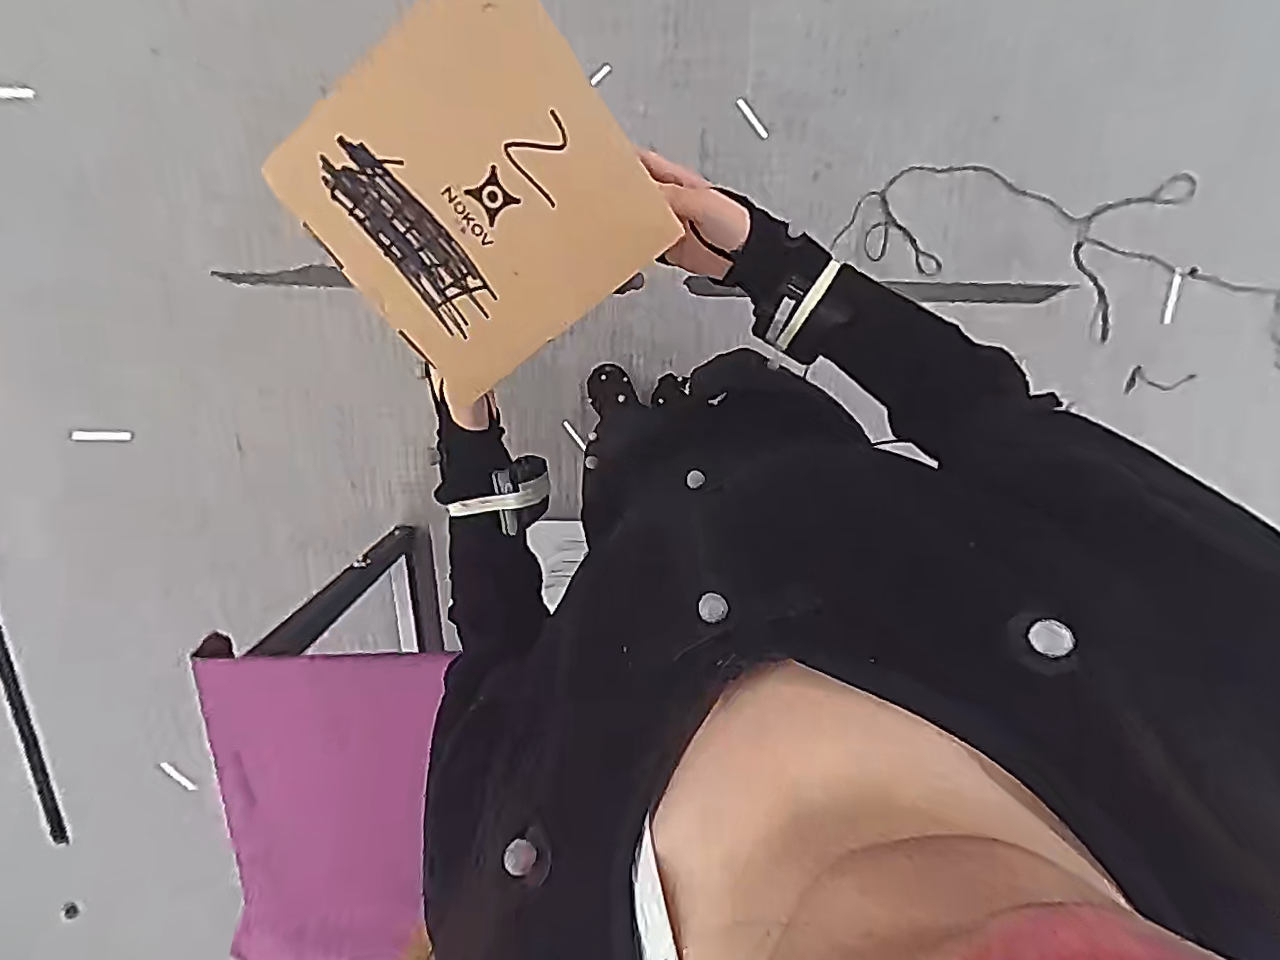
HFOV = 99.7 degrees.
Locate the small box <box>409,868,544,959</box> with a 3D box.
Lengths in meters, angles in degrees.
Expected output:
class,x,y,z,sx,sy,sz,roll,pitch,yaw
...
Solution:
class,x,y,z,sx,sy,sz,roll,pitch,yaw
small box,-0.253,0.753,0.855,0.179,0.176,0.168,3,103,-3
